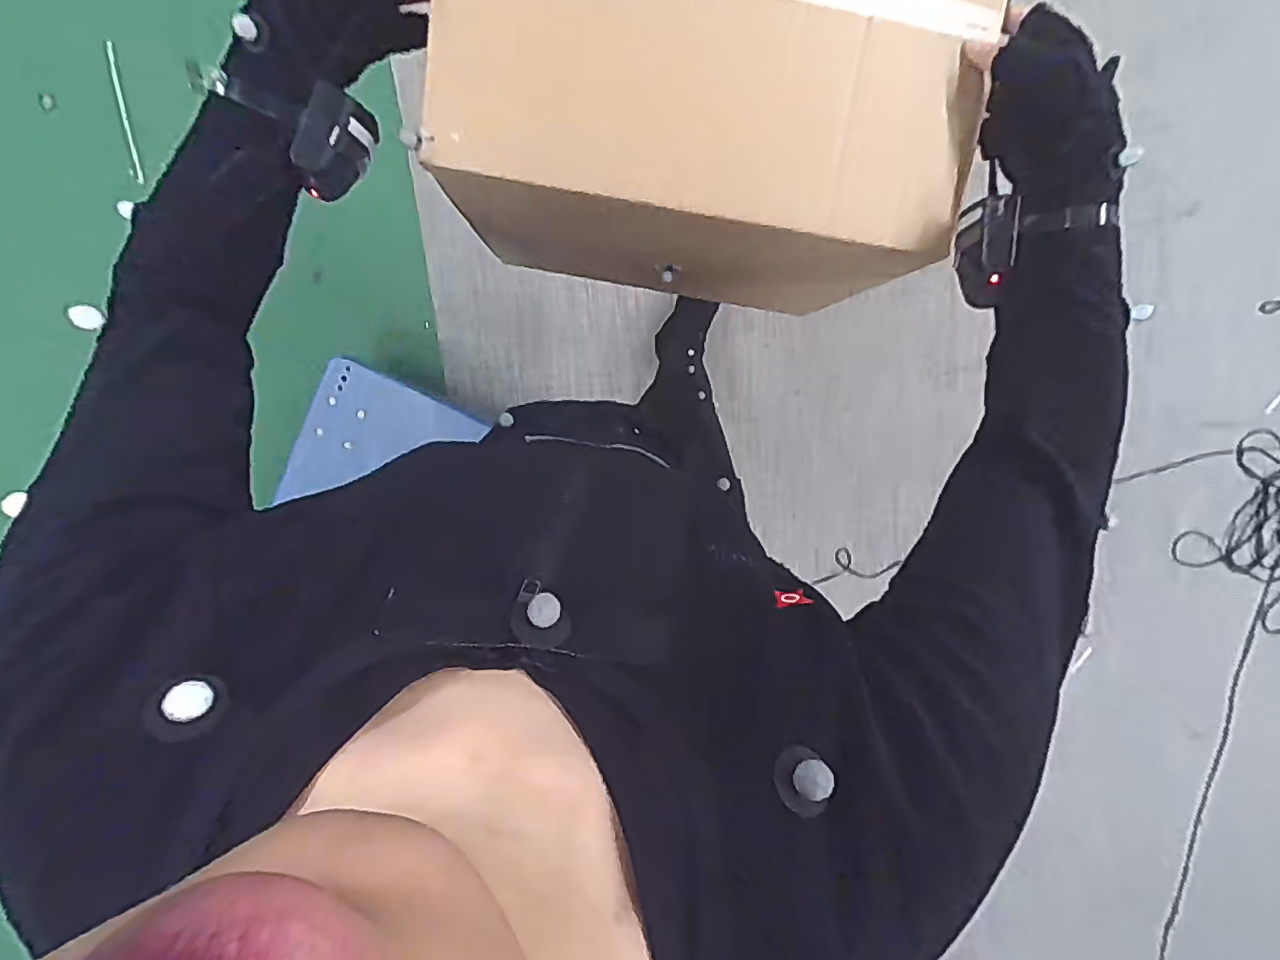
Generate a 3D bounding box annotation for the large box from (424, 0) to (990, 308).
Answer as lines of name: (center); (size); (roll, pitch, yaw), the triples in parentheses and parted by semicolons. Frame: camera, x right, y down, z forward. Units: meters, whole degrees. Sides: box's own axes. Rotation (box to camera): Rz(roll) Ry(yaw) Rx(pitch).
large box: (0.051, -0.373, 0.535); (0.408, 0.320, 0.320); (8, 97, -4)
